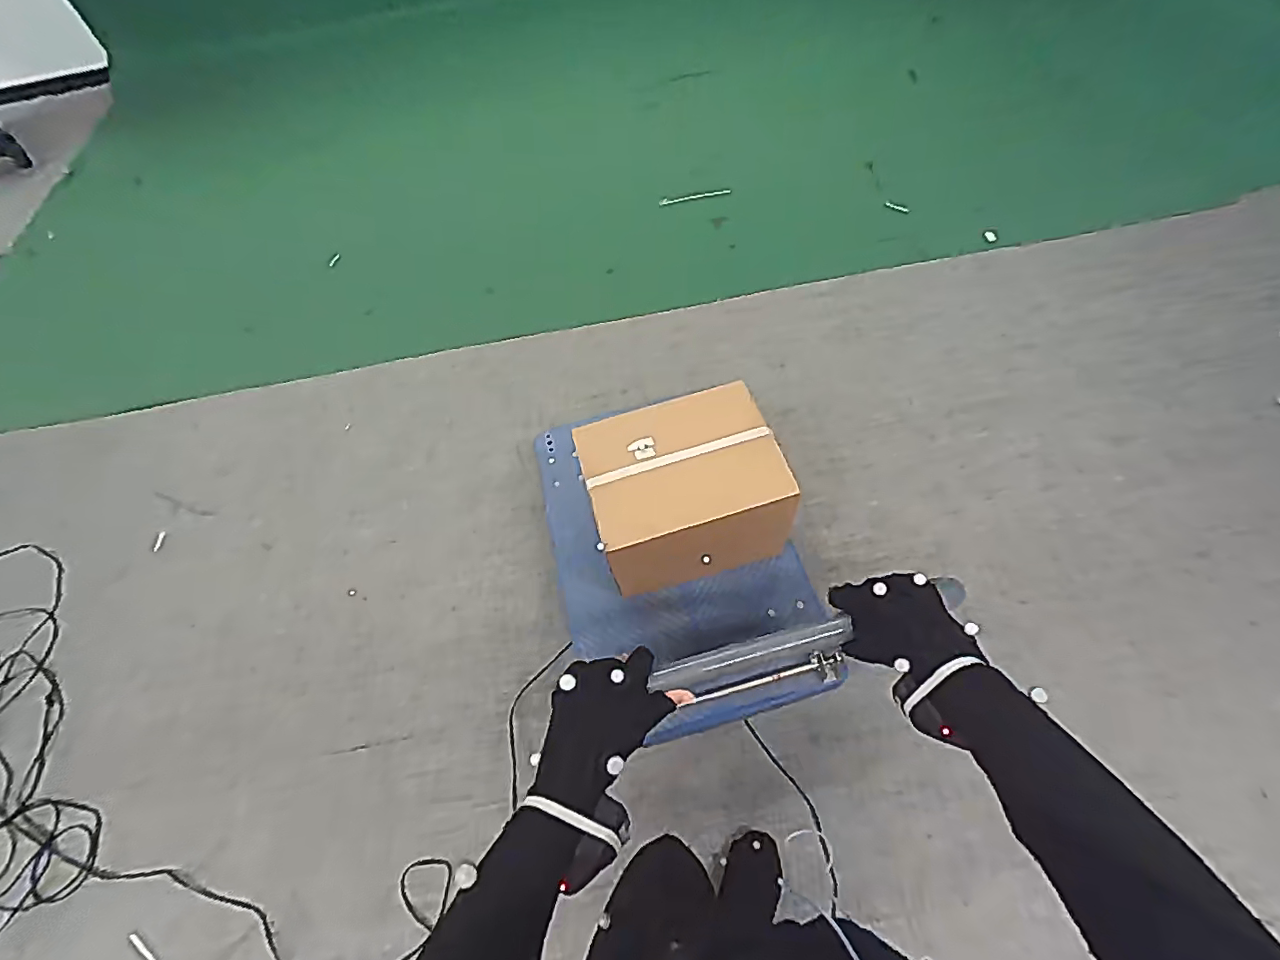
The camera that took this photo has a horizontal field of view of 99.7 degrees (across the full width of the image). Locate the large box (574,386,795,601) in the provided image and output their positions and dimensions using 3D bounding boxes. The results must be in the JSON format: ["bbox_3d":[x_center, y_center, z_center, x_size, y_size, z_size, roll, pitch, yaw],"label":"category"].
[{"bbox_3d":[0.100,0.042,1.272,0.408,0.320,0.320,-18,58,-2],"label":"large box"}]
